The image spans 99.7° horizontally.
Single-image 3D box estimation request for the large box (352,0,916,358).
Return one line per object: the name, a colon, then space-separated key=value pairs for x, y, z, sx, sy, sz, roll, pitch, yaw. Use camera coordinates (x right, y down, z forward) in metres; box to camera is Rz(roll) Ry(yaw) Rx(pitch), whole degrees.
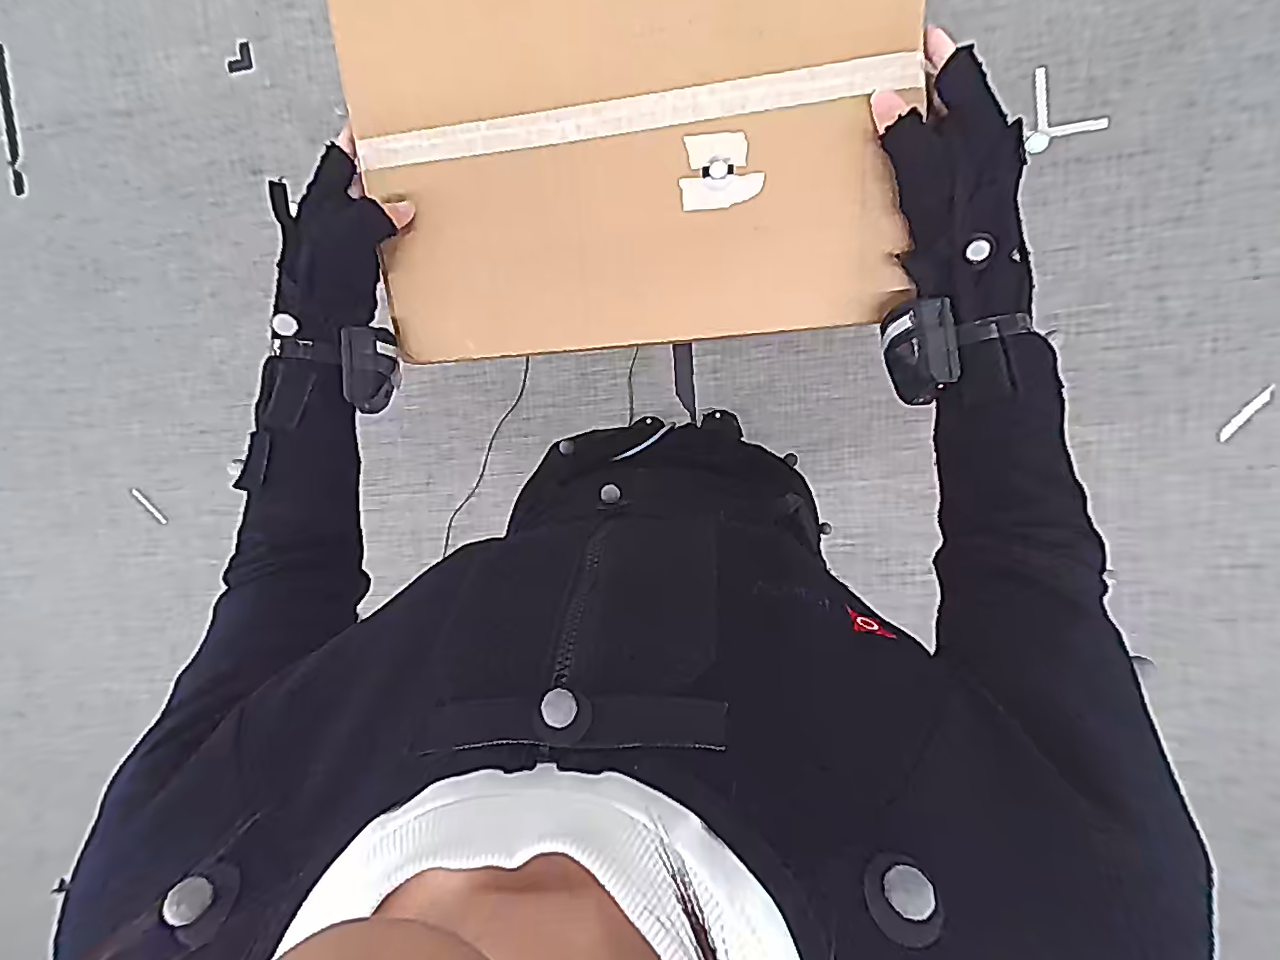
large box: x=0.009 y=-0.302 z=0.540 sx=0.408 sy=0.320 sz=0.320 roll=-3 pitch=105 yaw=8
